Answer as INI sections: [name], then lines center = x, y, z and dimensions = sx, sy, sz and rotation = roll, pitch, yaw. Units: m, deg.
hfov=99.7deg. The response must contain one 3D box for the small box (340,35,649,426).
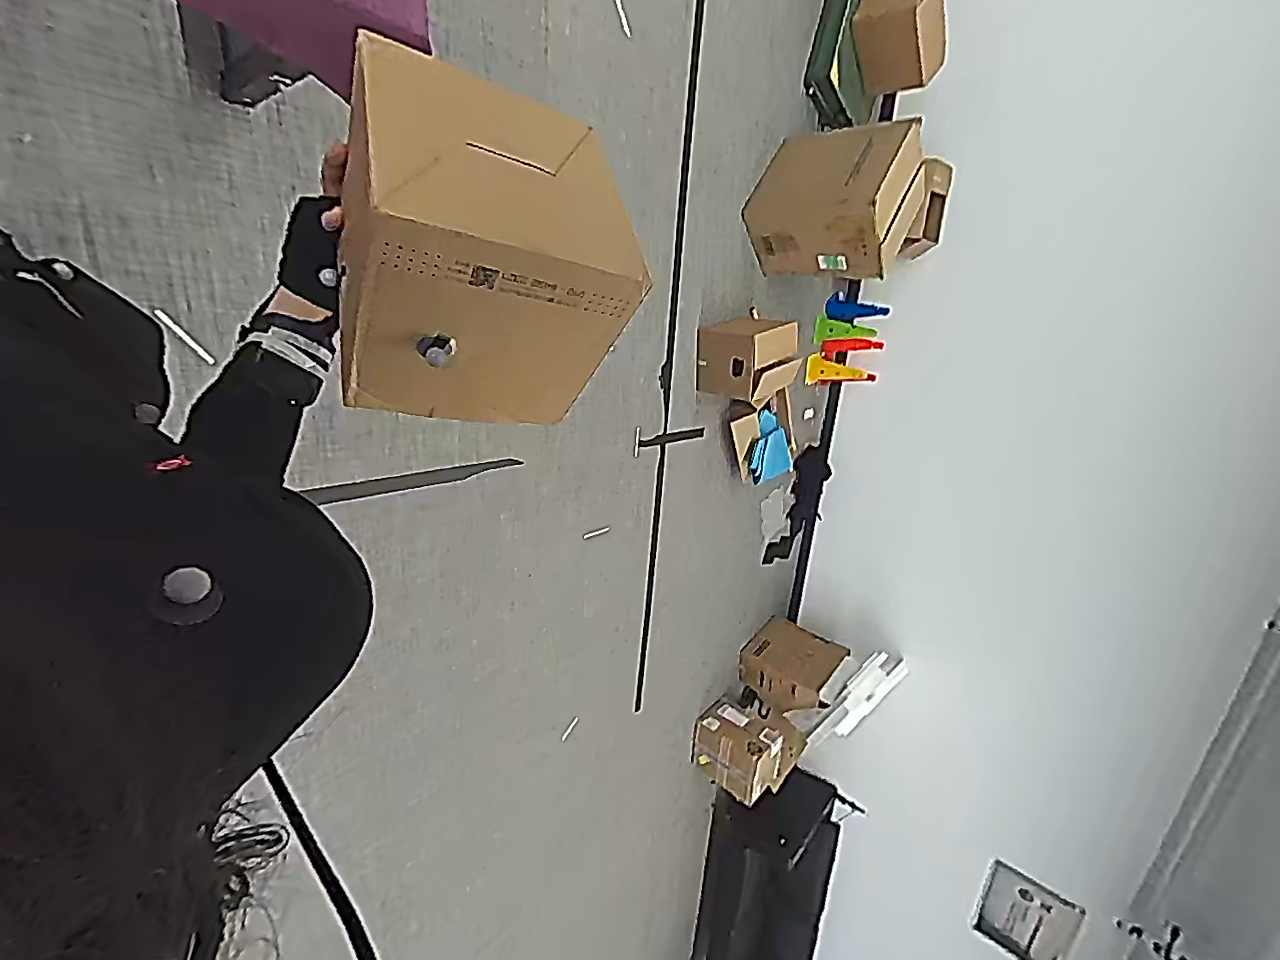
[small box]
center = -0.114, -0.161, 0.391
dimensions = 0.168, 0.176, 0.179
rotation = 3, 59, -35
